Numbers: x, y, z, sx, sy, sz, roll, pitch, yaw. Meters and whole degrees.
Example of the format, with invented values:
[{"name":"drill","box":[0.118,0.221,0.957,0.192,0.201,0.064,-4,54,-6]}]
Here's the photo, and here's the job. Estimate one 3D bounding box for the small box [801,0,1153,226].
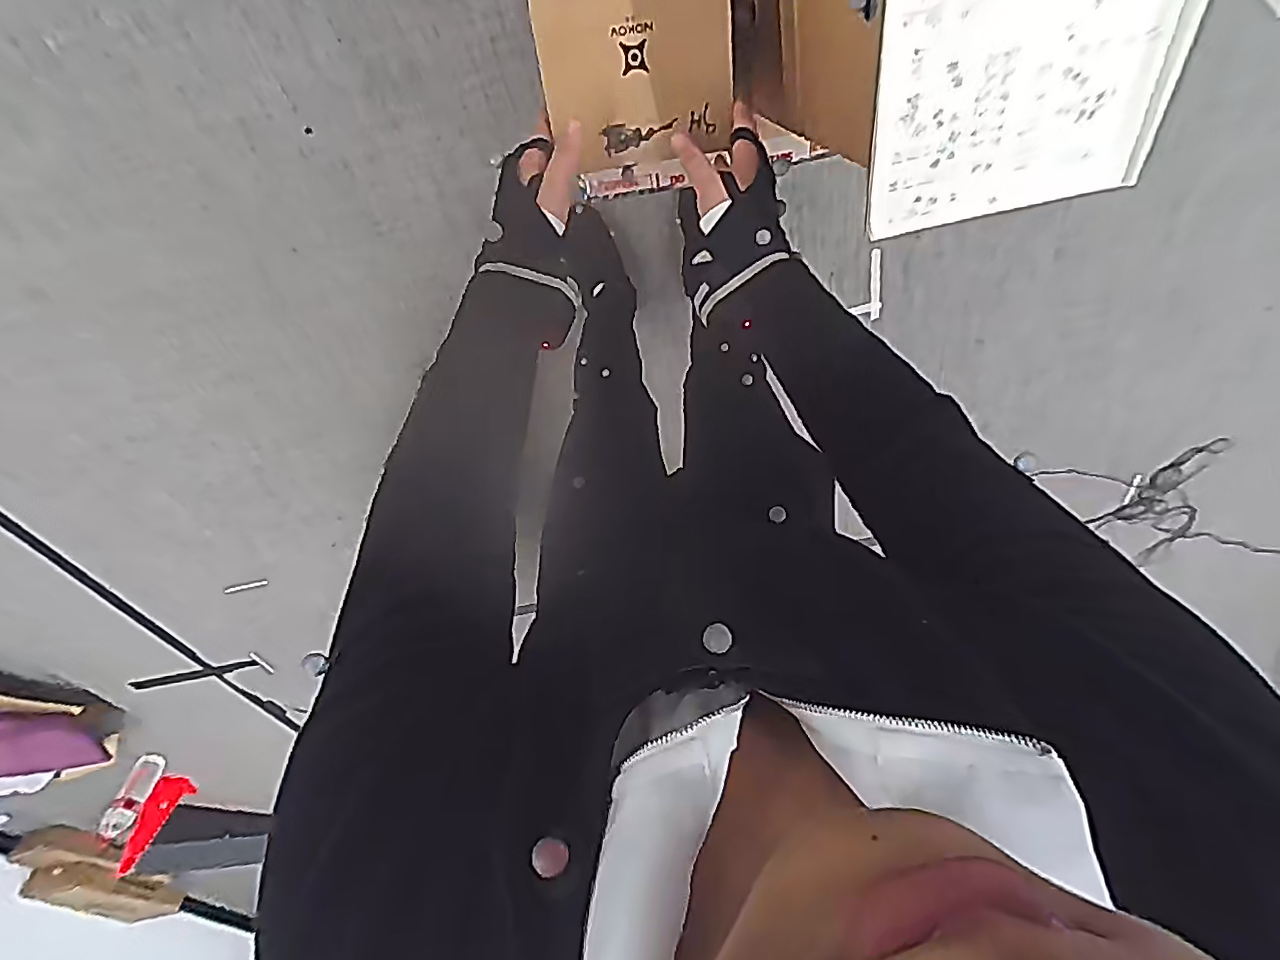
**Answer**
[{"name":"small box","box":[0.230,-0.321,0.408,0.168,0.176,0.179,-12,132,1]}]
